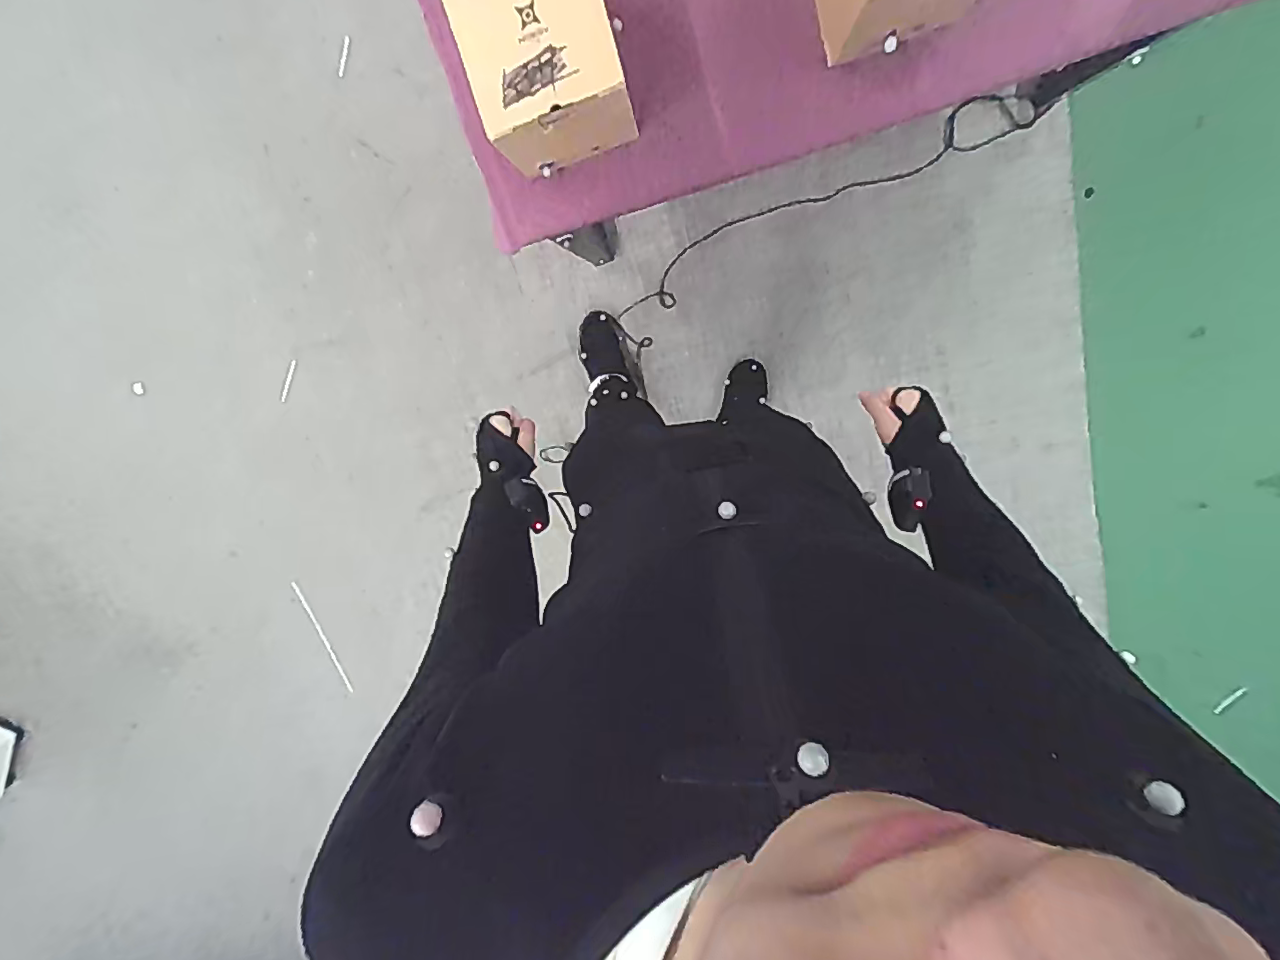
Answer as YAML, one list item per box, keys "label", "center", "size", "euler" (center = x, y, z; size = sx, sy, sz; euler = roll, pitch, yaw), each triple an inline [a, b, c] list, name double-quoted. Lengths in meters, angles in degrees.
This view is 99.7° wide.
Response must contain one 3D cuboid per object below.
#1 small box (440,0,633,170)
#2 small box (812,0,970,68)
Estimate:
- label: "small box"
  center: [-0.115, -0.510, 0.669]
  size: [0.168, 0.176, 0.179]
  euler: [-15, 103, 10]
- label: "small box"
  center: [0.283, -0.611, 0.595]
  size: [0.168, 0.176, 0.179]
  euler: [-15, 104, 12]
